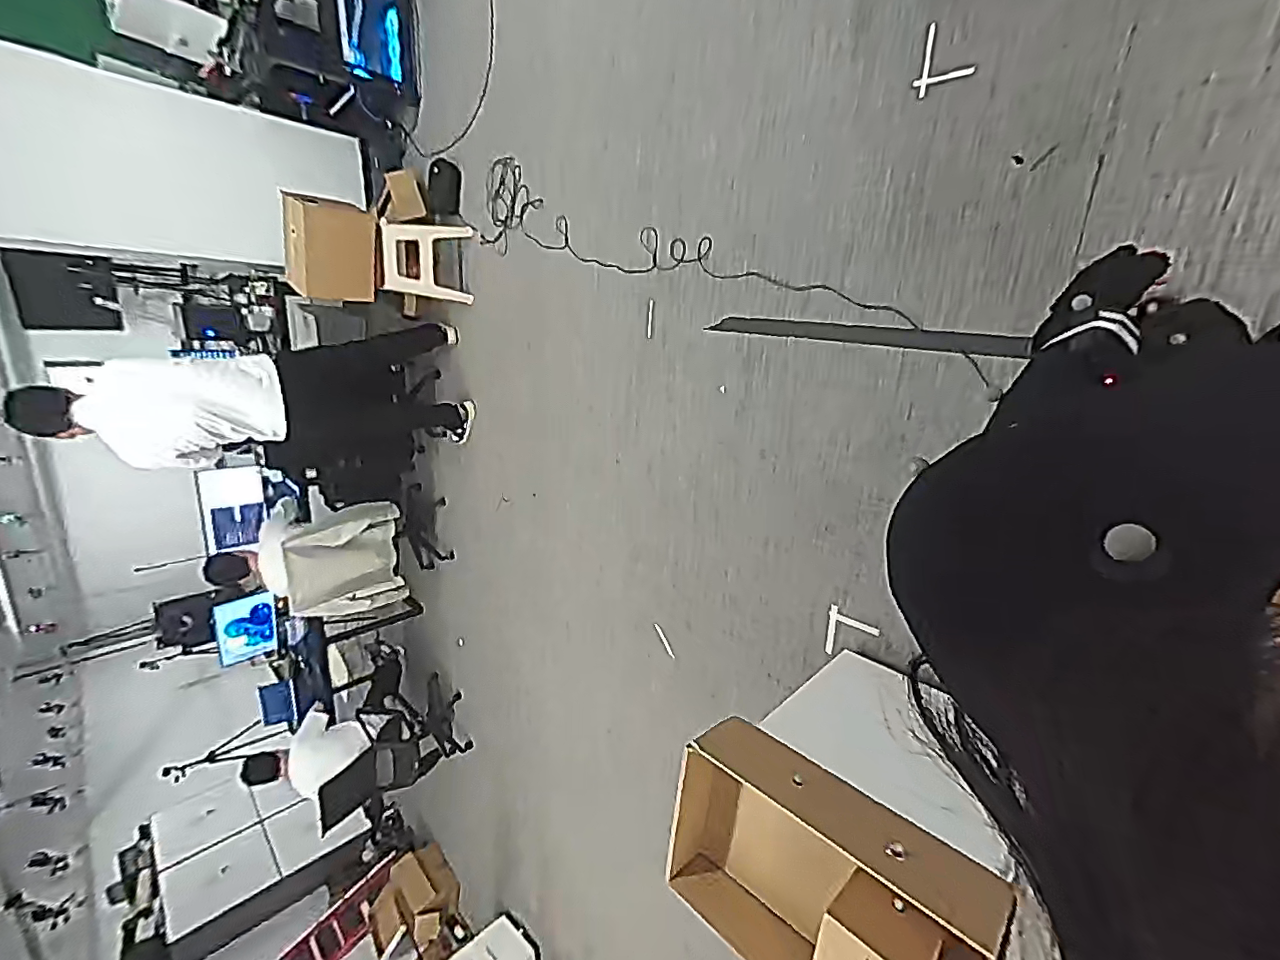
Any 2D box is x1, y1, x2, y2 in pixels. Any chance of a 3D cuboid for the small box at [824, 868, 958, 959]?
[{"bbox_3d":[0.449,0.866,0.975,0.168,0.176,0.179,18,106,43],"label":"small box"}]
